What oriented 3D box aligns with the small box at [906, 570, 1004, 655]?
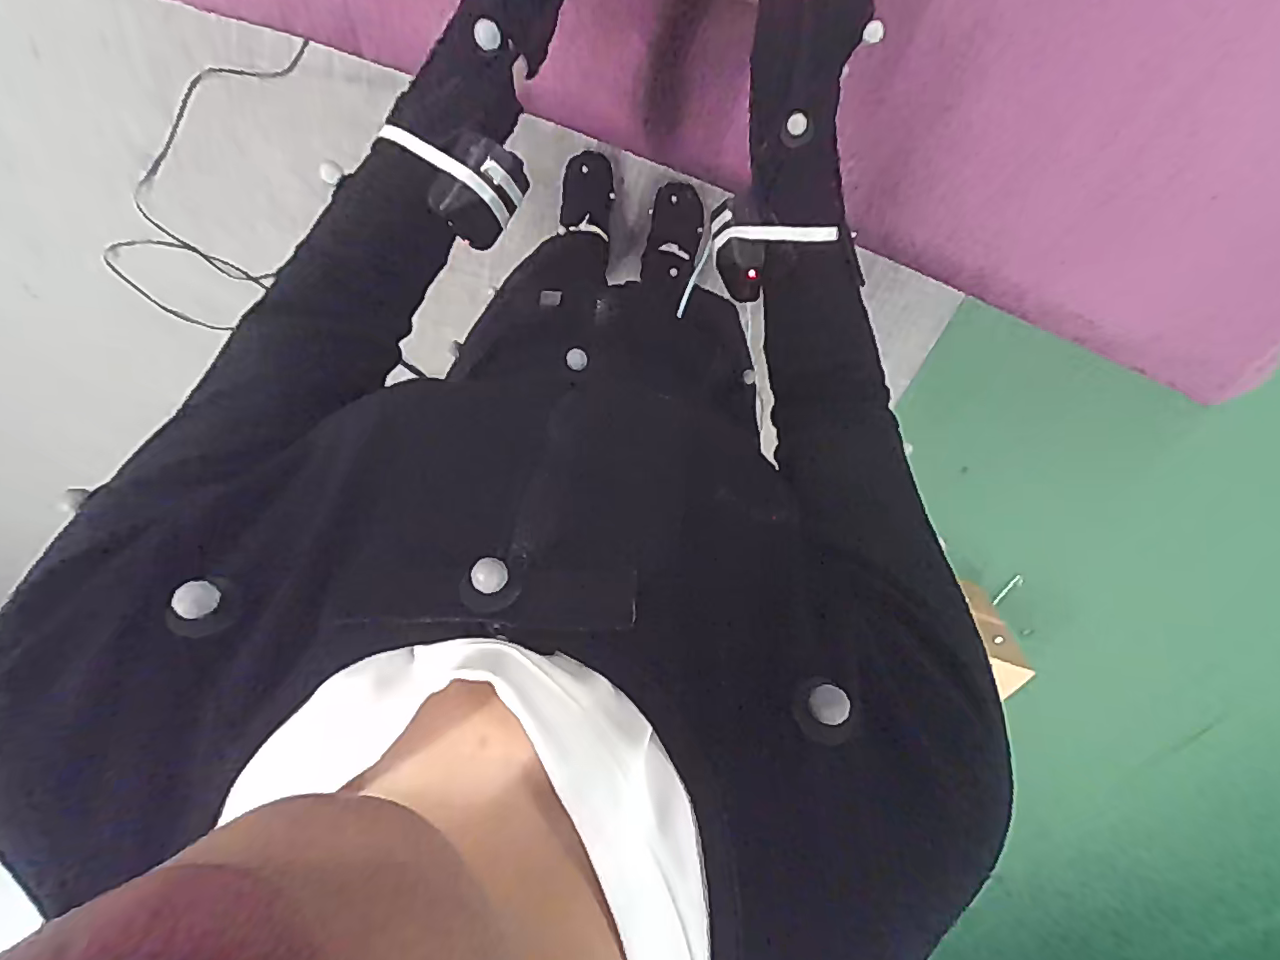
[{"bbox_3d":[0.974,0.409,1.692,0.179,0.176,0.168,20,122,-6],"label":"small box"}]
